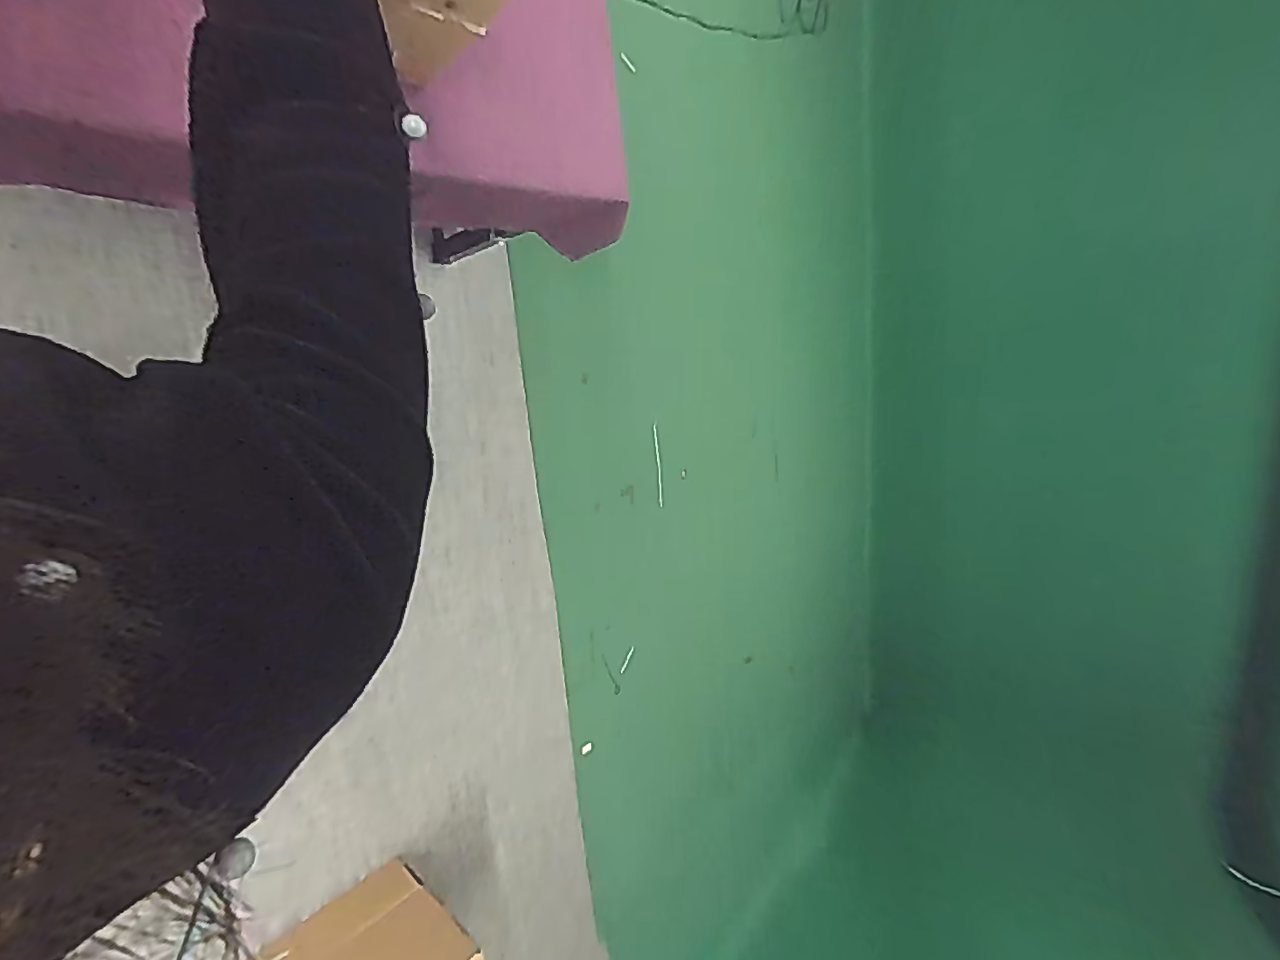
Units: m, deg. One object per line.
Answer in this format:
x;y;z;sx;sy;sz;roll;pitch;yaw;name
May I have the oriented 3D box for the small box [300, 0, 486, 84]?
-0.321;-0.648;0.677;0.168;0.176;0.179;-19;108;-44;small box
